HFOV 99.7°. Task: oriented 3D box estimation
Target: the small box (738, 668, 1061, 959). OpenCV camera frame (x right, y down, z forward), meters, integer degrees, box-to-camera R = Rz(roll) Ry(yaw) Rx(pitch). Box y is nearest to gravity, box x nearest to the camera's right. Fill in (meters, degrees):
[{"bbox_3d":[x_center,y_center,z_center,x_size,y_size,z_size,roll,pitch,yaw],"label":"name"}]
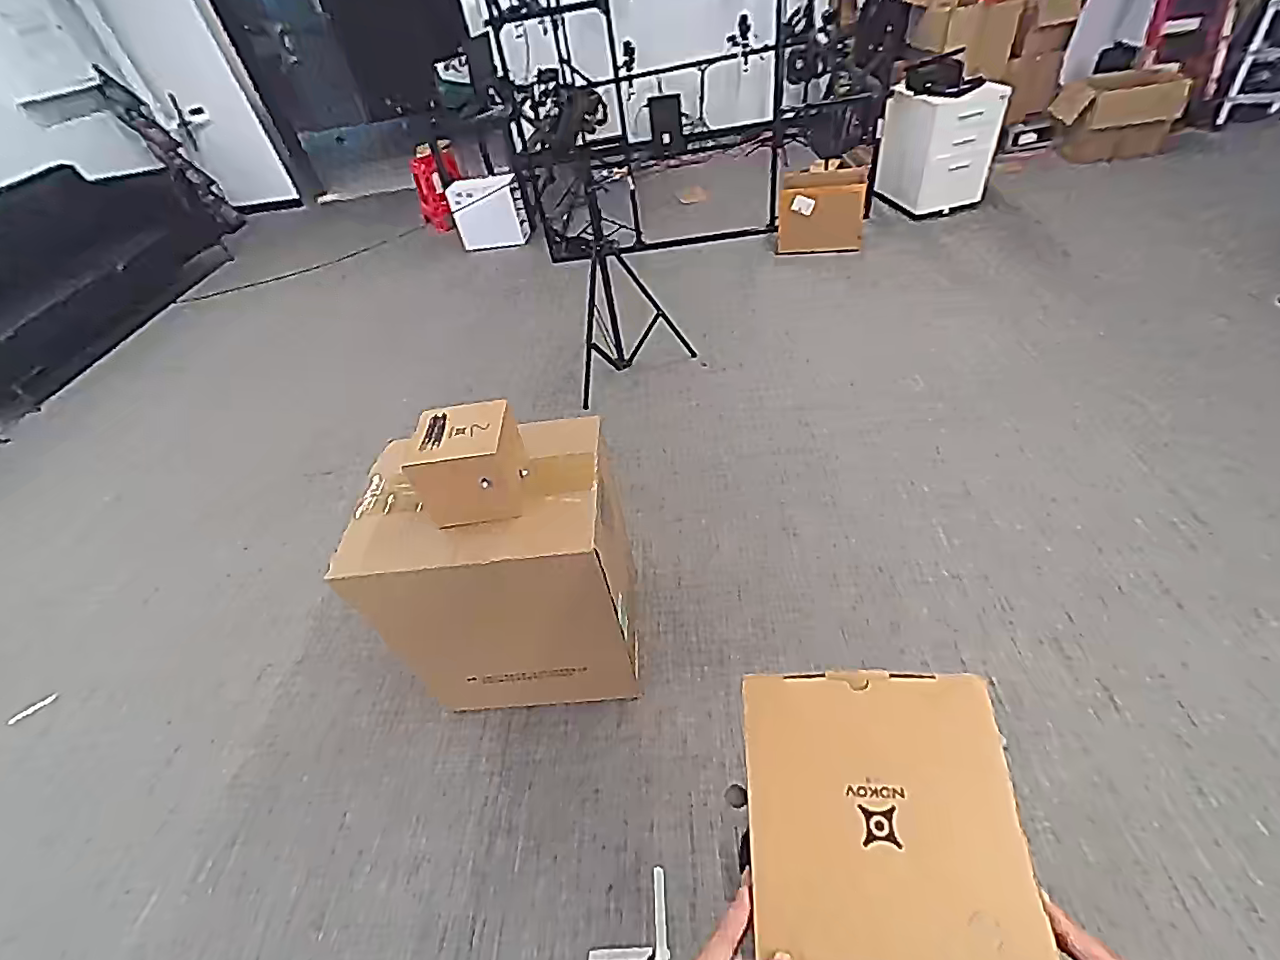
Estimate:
[{"bbox_3d":[0.166,0.247,0.403,0.168,0.176,0.179,-5,58,12],"label":"small box"}]
